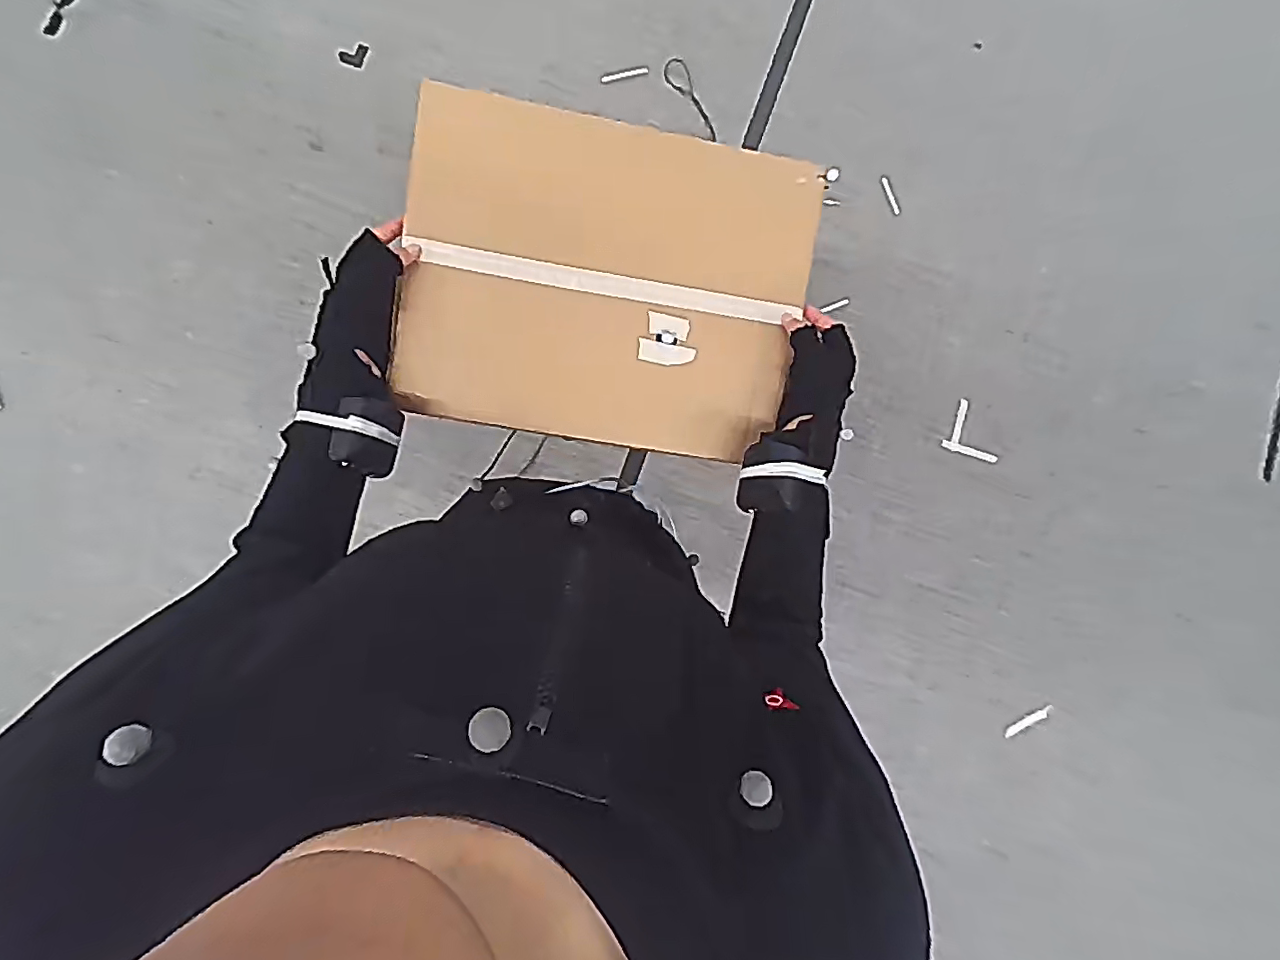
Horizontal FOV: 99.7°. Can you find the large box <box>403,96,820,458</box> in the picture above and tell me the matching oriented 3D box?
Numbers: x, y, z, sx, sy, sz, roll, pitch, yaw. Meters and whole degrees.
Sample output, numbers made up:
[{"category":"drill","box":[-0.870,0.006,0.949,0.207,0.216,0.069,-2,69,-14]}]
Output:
[{"category":"large box","box":[-0.041,-0.213,0.707,0.408,0.320,0.320,9,95,-6]}]
